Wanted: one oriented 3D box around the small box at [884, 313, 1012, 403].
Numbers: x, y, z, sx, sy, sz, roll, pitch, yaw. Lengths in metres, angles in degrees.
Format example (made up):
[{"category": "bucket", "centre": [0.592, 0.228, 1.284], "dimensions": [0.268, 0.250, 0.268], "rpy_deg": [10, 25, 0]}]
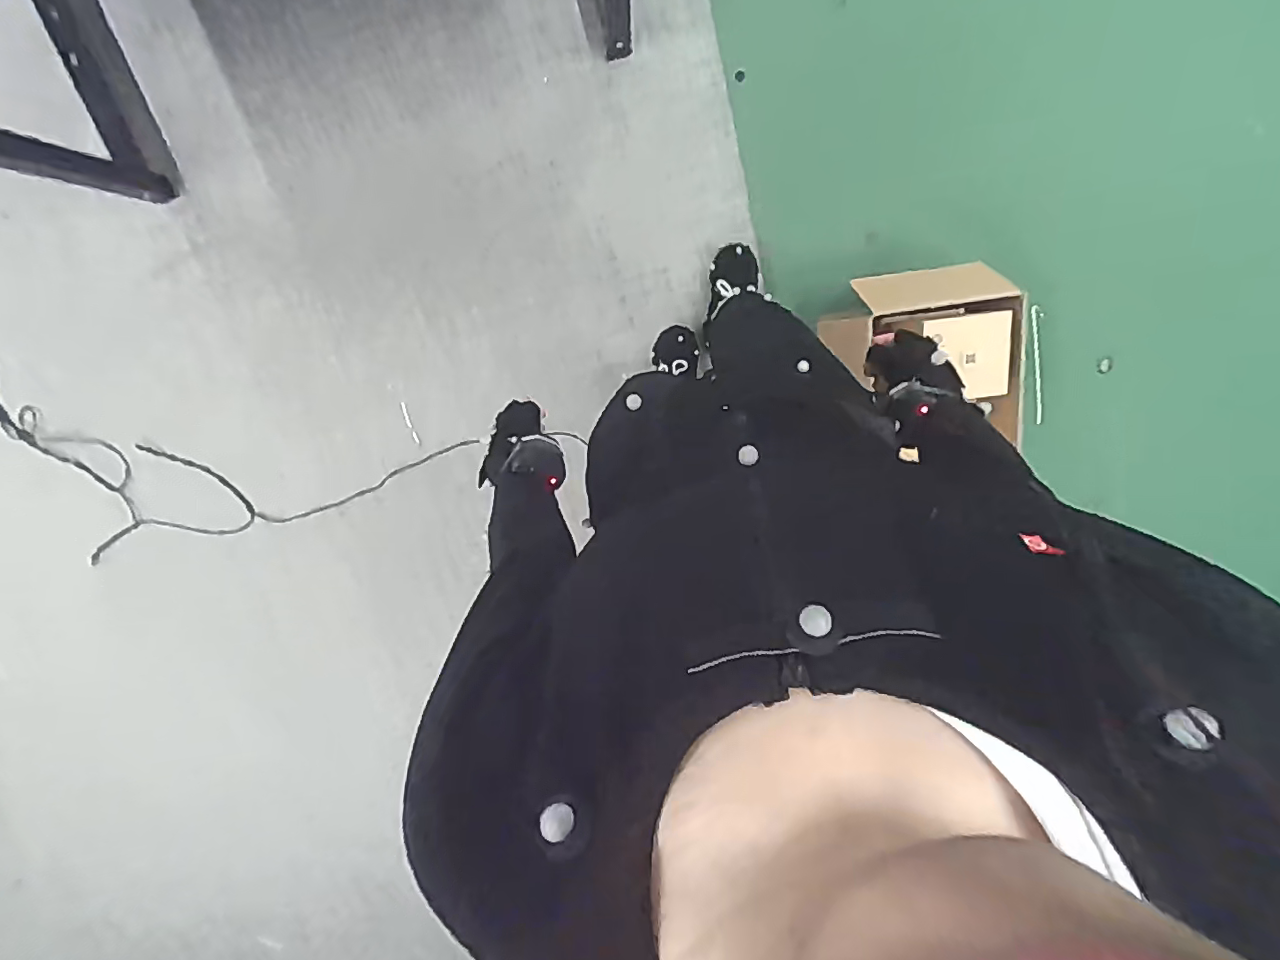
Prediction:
[{"category": "small box", "centre": [0.647, -0.264, 1.153], "dimensions": [0.179, 0.176, 0.168], "rpy_deg": [-6, 105, 1]}]
